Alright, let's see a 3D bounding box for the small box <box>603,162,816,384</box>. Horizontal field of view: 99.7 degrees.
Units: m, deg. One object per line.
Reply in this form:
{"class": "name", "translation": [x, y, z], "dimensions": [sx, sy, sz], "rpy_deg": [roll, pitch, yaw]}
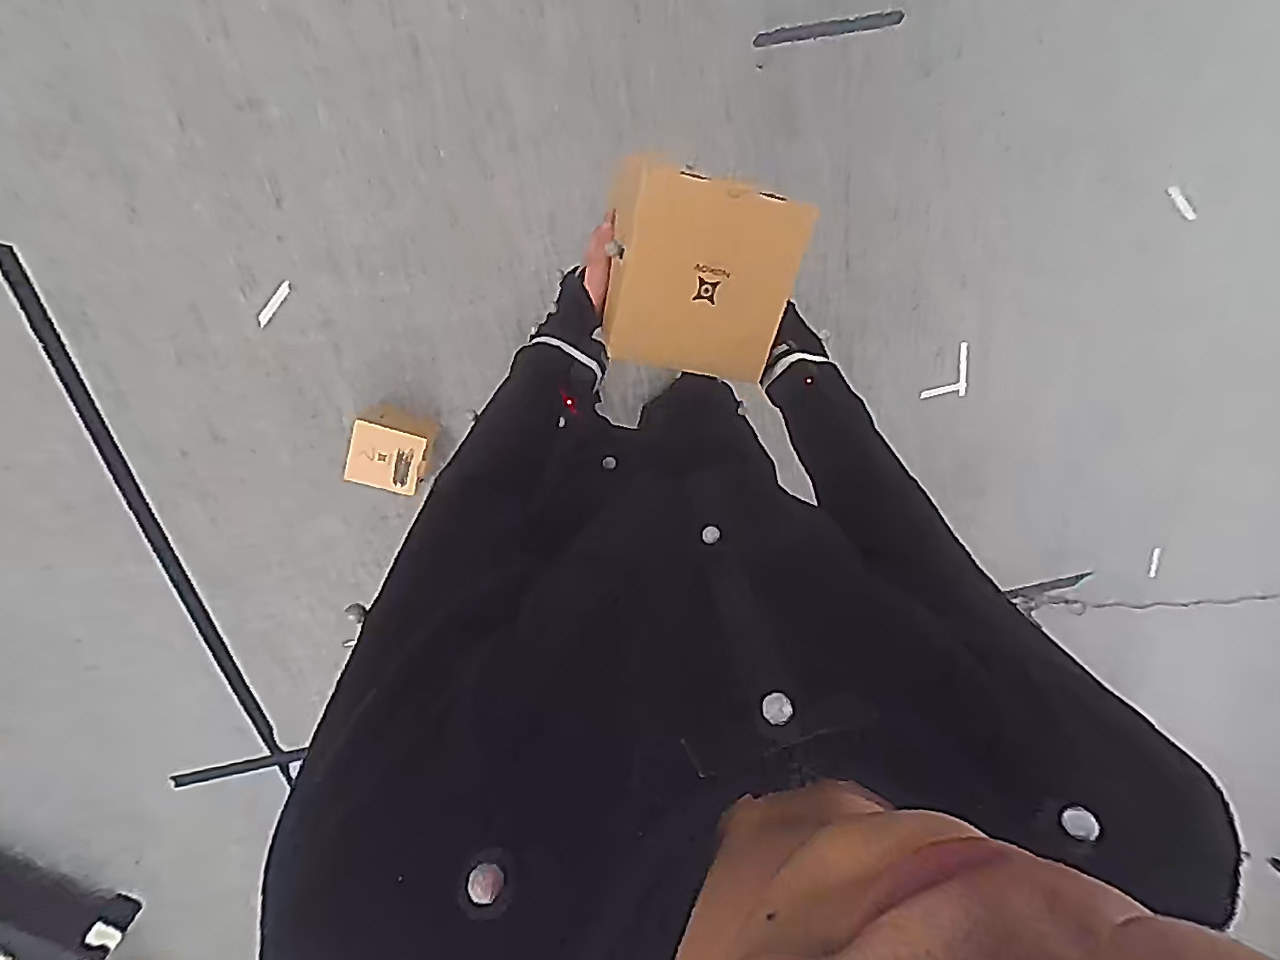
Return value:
{"class": "small box", "translation": [0.056, -0.224, 0.581], "dimensions": [0.168, 0.176, 0.179], "rpy_deg": [7, 118, -12]}

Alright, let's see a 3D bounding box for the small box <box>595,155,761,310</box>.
{"class": "small box", "translation": [0.036, -0.312, 0.717], "dimensions": [0.168, 0.176, 0.179], "rpy_deg": [8, 119, -12]}
